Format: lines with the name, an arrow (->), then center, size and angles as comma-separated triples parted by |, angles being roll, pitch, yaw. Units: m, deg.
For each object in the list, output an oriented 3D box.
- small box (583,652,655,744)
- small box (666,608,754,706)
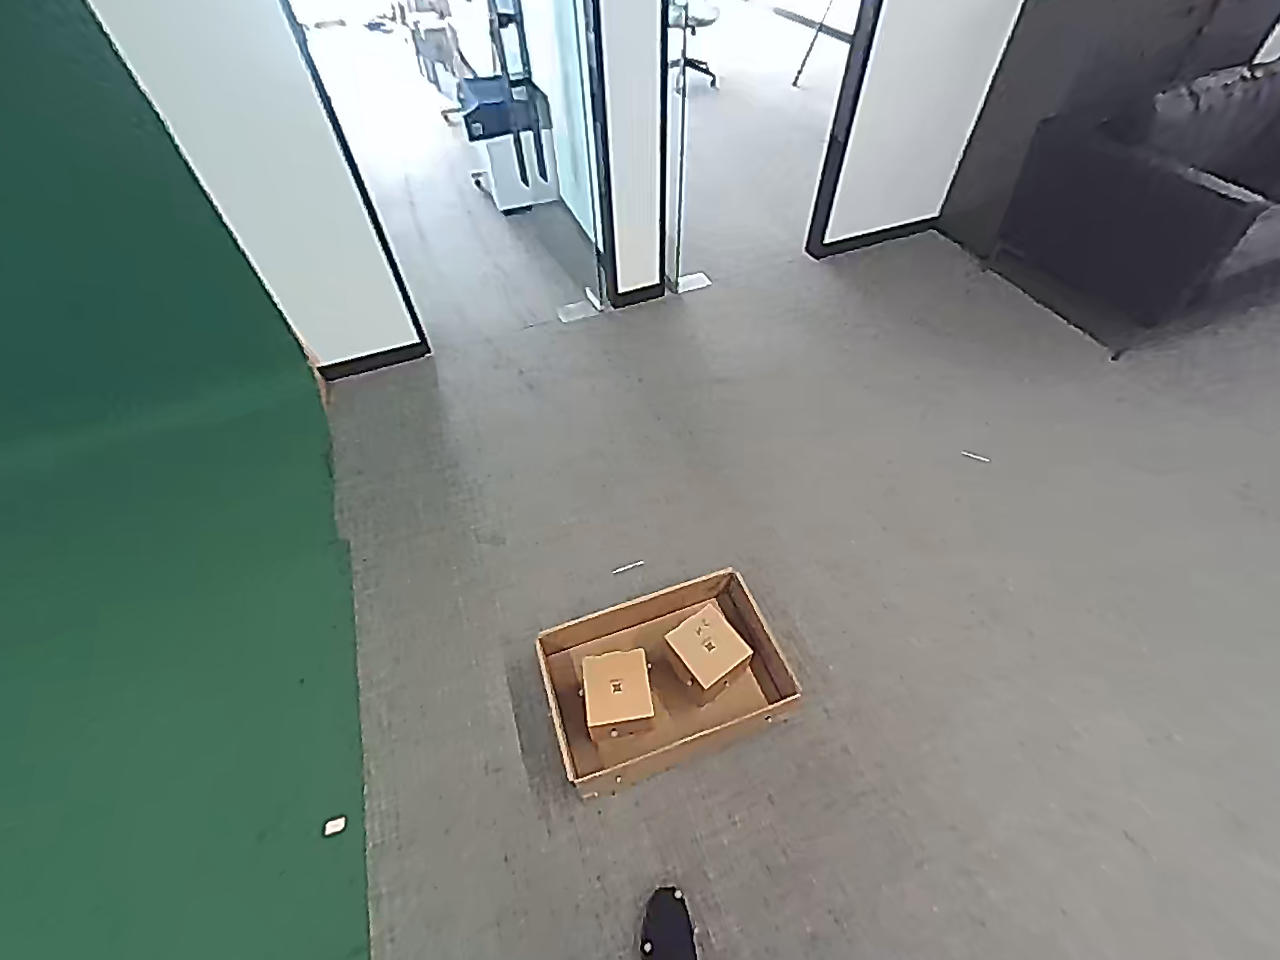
small box -> -0.053, 0.579, 1.420 | 0.168, 0.176, 0.179 | -7, 50, -5
small box -> 0.187, 0.493, 1.481 | 0.168, 0.176, 0.179 | -30, 56, -20
